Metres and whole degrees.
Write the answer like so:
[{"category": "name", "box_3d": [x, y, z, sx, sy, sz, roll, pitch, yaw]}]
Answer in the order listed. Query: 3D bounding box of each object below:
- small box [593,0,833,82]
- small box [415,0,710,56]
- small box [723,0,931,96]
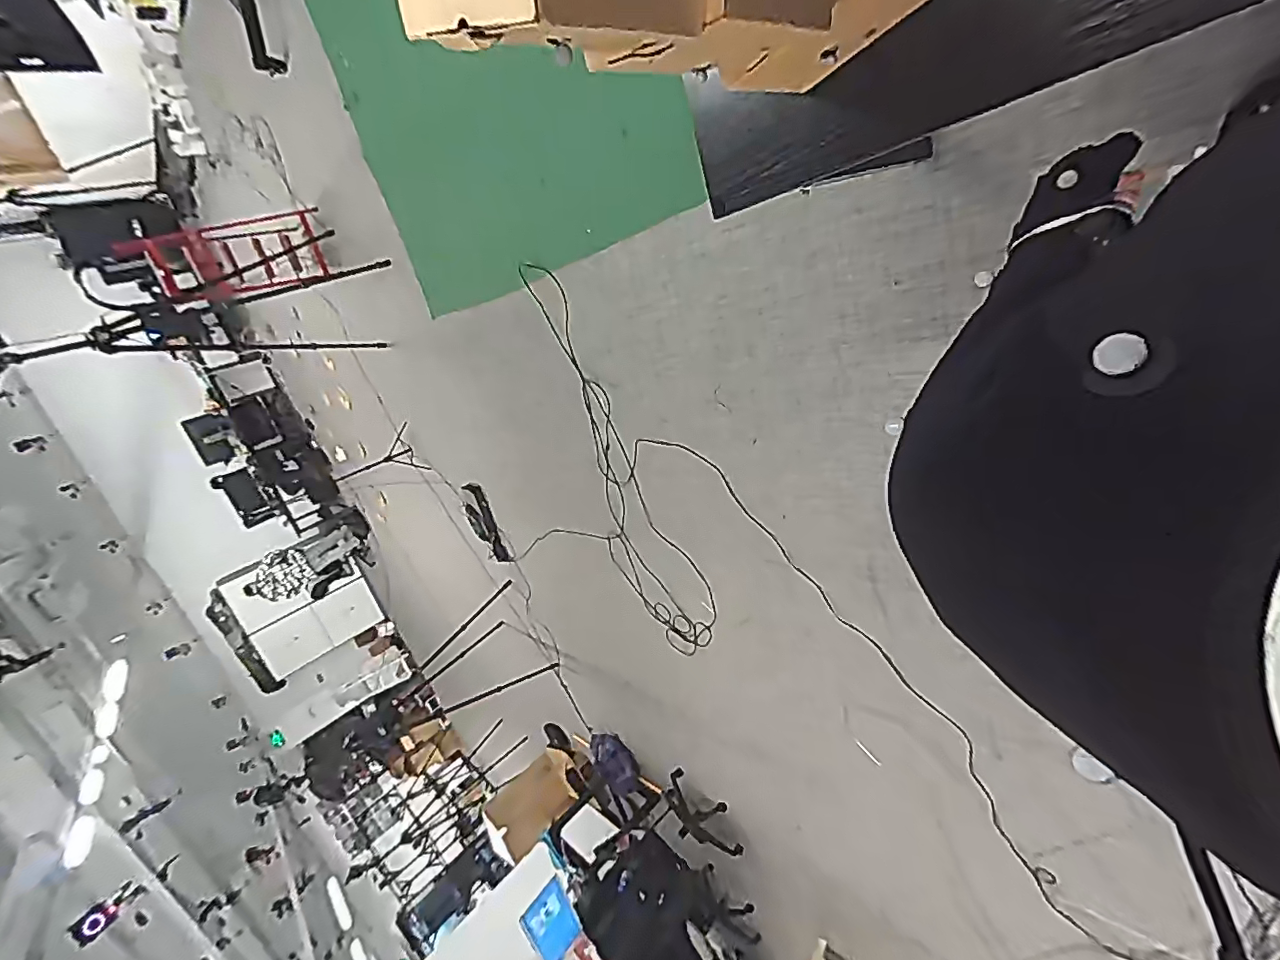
[{"category": "small box", "box_3d": [0.061, -0.474, 0.476, 0.168, 0.176, 0.179, 19, 128, 41]}, {"category": "small box", "box_3d": [-0.056, -0.411, 0.379, 0.168, 0.176, 0.179, 28, 135, 33]}, {"category": "small box", "box_3d": [0.177, -0.542, 0.570, 0.168, 0.176, 0.179, -9, 109, 51]}]
